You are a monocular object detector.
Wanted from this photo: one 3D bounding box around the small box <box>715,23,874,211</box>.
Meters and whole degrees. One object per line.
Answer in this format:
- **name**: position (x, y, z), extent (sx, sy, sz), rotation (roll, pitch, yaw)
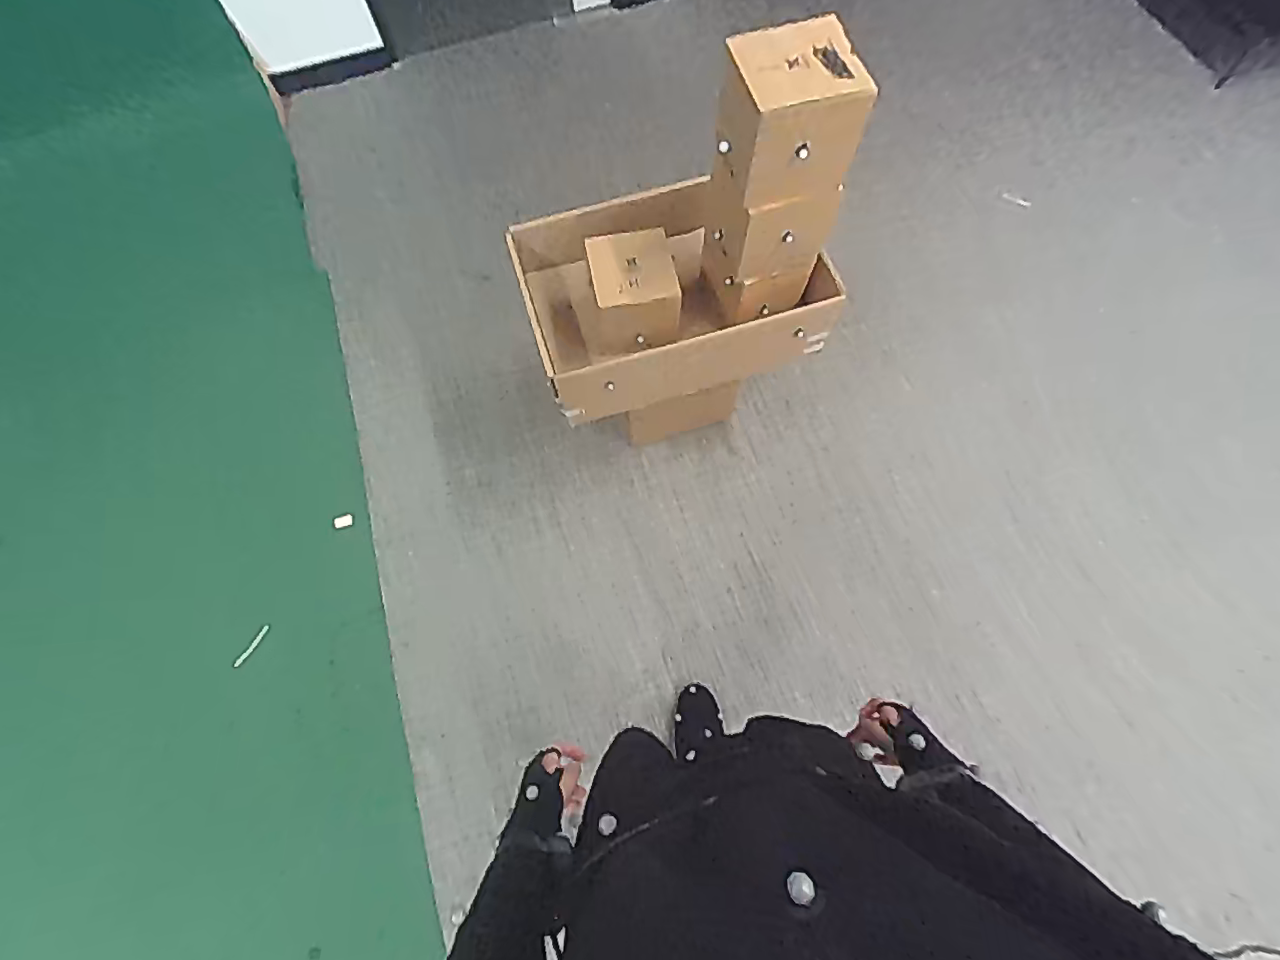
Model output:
- **small box**: position (0.230, -0.563, 0.854), extent (0.179, 0.176, 0.168), rotation (-14, 69, -3)
